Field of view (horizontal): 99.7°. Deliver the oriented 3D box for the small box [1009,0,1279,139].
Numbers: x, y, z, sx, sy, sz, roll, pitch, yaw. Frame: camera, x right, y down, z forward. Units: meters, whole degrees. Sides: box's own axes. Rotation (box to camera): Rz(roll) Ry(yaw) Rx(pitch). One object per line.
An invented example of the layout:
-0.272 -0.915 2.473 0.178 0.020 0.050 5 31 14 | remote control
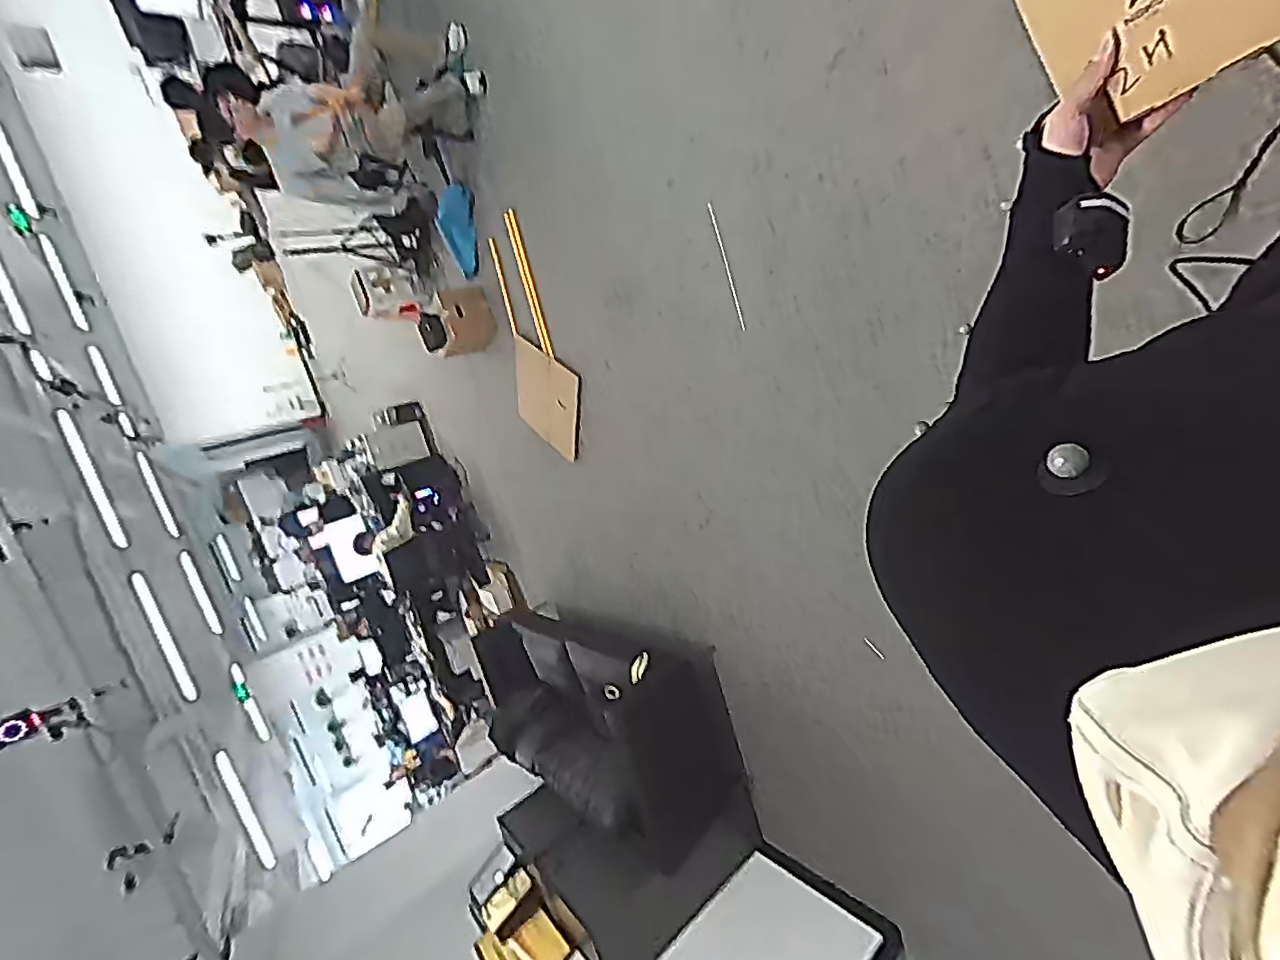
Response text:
0.477 -0.457 0.471 0.179 0.176 0.168 55 169 -10 | small box
